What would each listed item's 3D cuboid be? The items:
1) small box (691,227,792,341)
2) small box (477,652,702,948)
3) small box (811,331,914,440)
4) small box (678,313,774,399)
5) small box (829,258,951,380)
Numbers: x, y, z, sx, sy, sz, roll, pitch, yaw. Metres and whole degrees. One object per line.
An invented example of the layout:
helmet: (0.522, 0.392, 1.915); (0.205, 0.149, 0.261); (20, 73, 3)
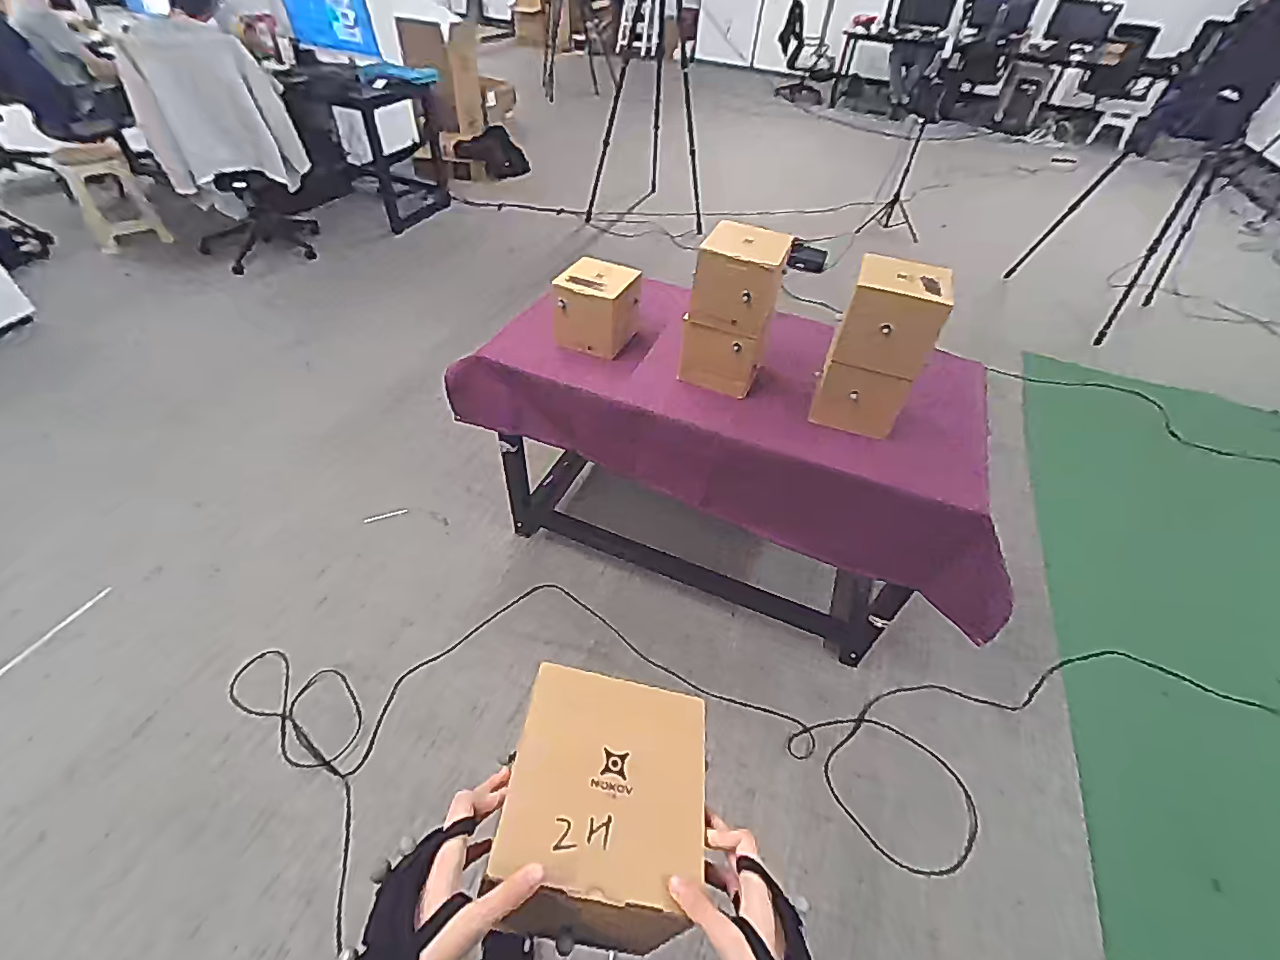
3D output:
small box: (0.220, -0.432, 1.195); (0.168, 0.176, 0.179); (20, 46, 12)
small box: (-0.047, 0.300, 0.513); (0.168, 0.176, 0.179); (15, 38, -4)
small box: (0.501, -0.214, 1.227); (0.179, 0.176, 0.168); (17, 46, 13)
small box: (0.203, -0.320, 1.312); (0.179, 0.176, 0.168); (20, 47, 13)
small box: (0.509, -0.328, 1.108); (0.179, 0.176, 0.168); (18, 46, 13)
